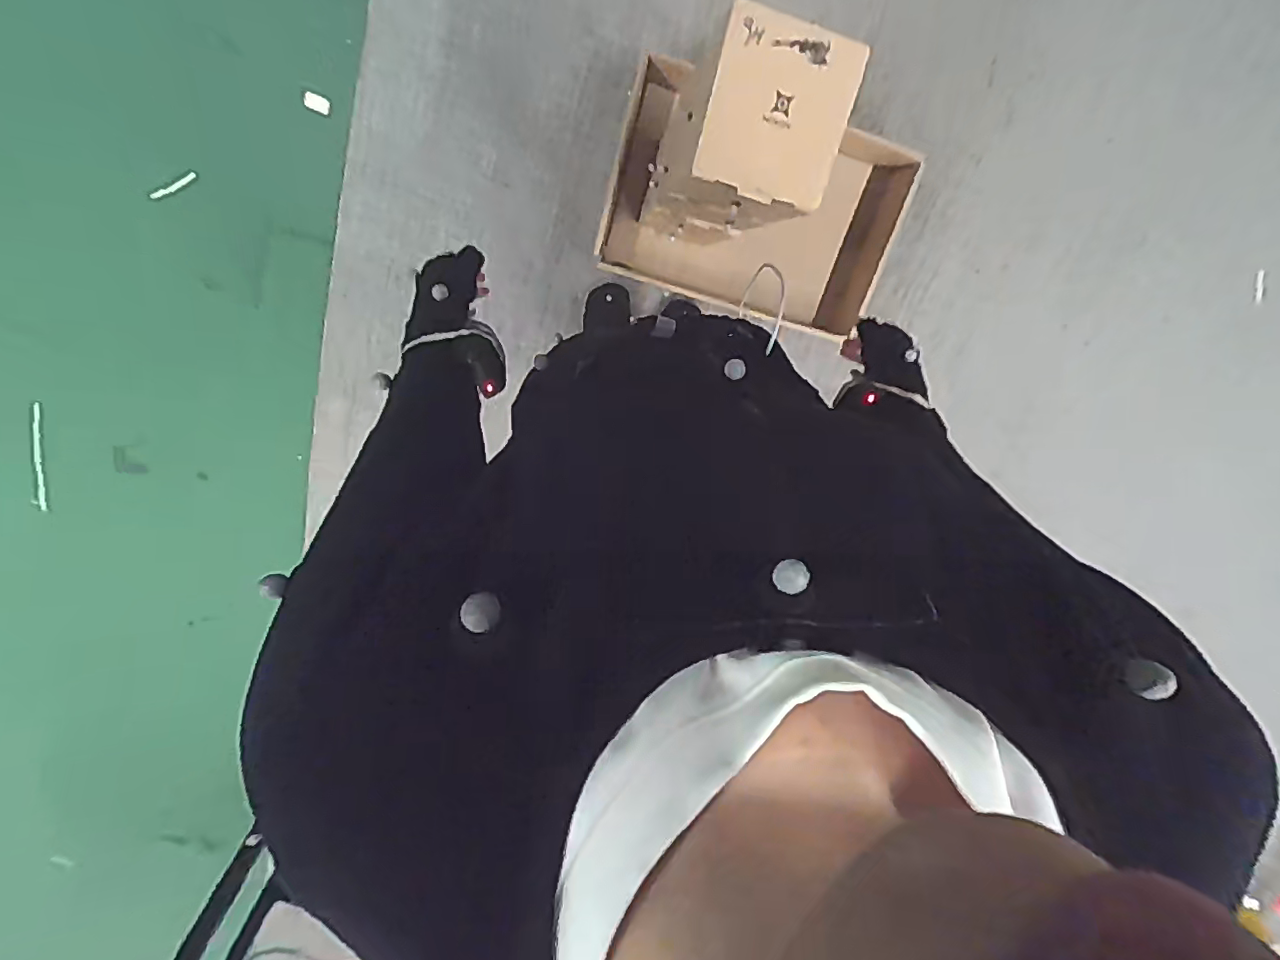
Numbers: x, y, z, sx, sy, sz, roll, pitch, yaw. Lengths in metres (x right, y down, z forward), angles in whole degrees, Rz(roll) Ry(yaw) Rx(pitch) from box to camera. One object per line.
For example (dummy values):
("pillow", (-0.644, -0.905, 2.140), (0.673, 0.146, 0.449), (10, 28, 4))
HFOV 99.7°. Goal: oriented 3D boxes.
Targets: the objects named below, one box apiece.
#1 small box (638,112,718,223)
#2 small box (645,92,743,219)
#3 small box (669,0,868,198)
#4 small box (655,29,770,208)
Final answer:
("small box", (0.098, -0.649, 1.116), (0.168, 0.176, 0.179), (13, 112, -10))
("small box", (0.111, -0.585, 0.967), (0.168, 0.176, 0.179), (12, 112, -10))
("small box", (0.139, -0.461, 0.665), (0.168, 0.176, 0.179), (10, 113, -11))
("small box", (0.123, -0.525, 0.816), (0.168, 0.176, 0.179), (10, 112, -10))
